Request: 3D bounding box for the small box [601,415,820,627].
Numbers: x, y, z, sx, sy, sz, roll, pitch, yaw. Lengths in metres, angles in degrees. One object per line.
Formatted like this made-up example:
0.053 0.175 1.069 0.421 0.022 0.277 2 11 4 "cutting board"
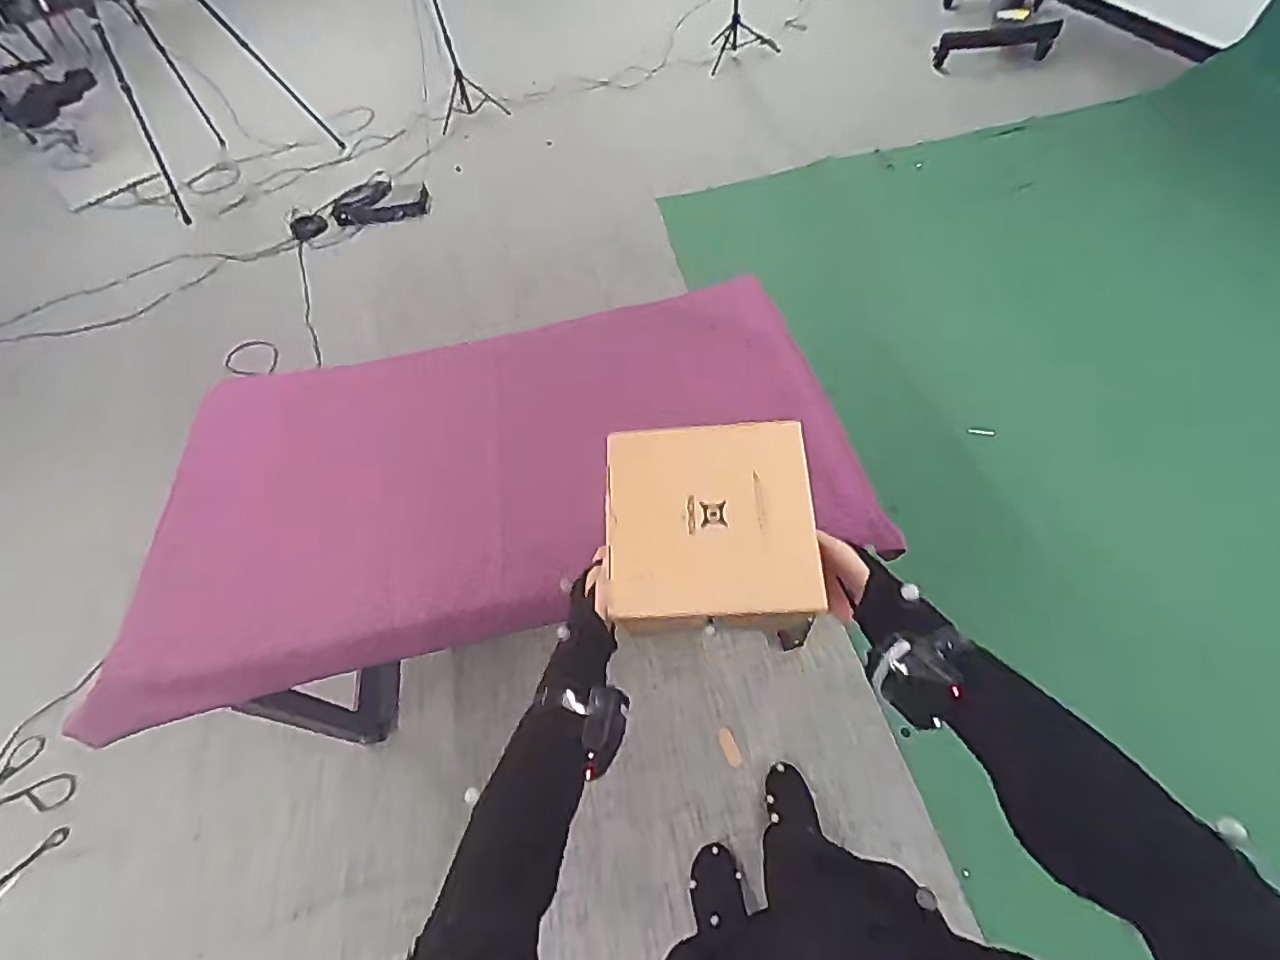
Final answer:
0.062 0.051 0.531 0.179 0.176 0.168 -3 69 4 "small box"
